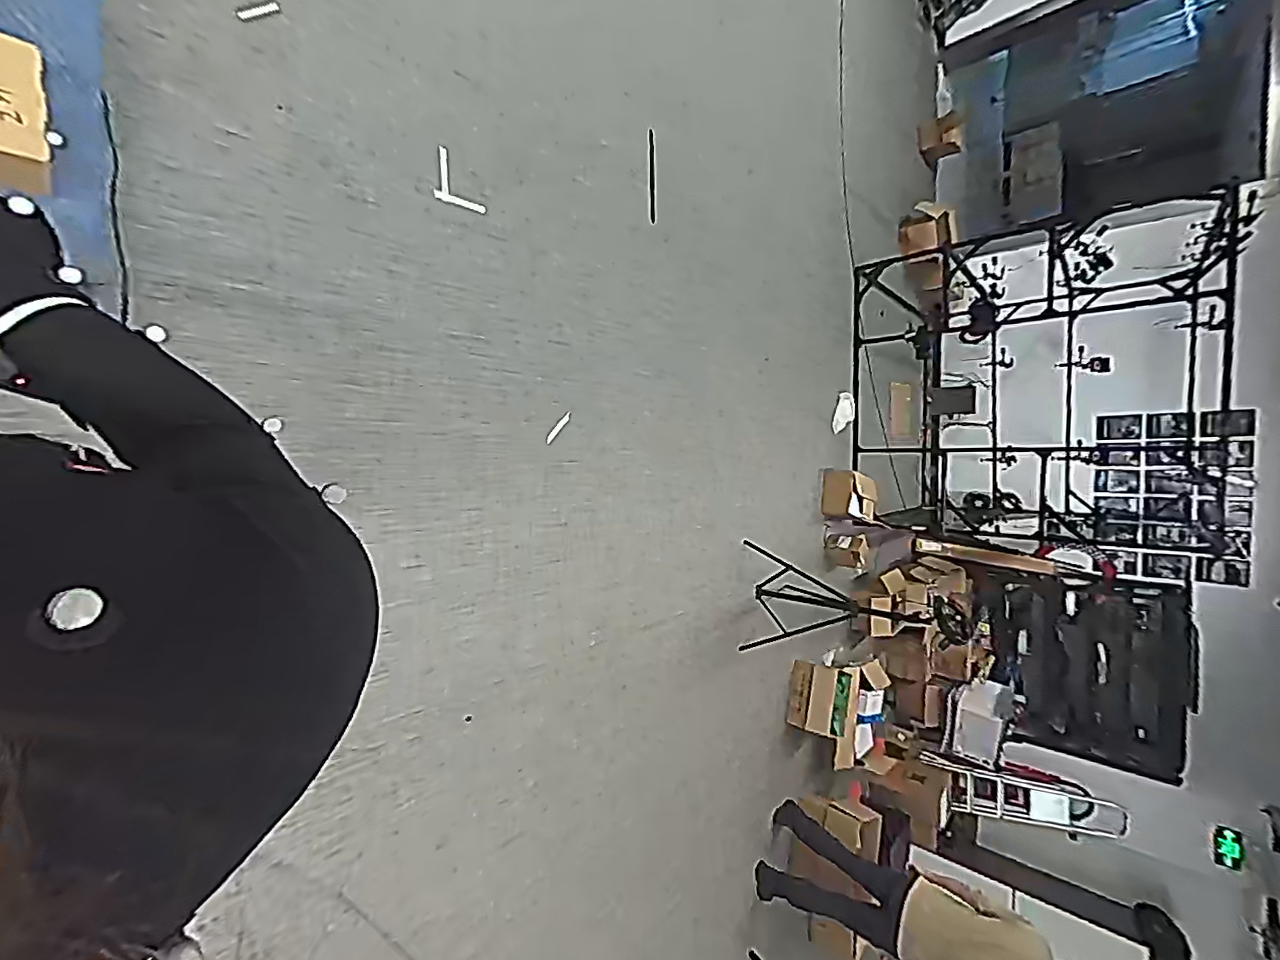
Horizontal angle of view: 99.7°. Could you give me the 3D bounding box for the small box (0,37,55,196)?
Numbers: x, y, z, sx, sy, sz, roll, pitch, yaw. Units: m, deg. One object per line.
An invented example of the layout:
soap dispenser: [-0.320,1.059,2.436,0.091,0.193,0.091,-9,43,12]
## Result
small box: [-0.995,-0.547,0.795,0.179,0.176,0.168,-6,96,-48]
